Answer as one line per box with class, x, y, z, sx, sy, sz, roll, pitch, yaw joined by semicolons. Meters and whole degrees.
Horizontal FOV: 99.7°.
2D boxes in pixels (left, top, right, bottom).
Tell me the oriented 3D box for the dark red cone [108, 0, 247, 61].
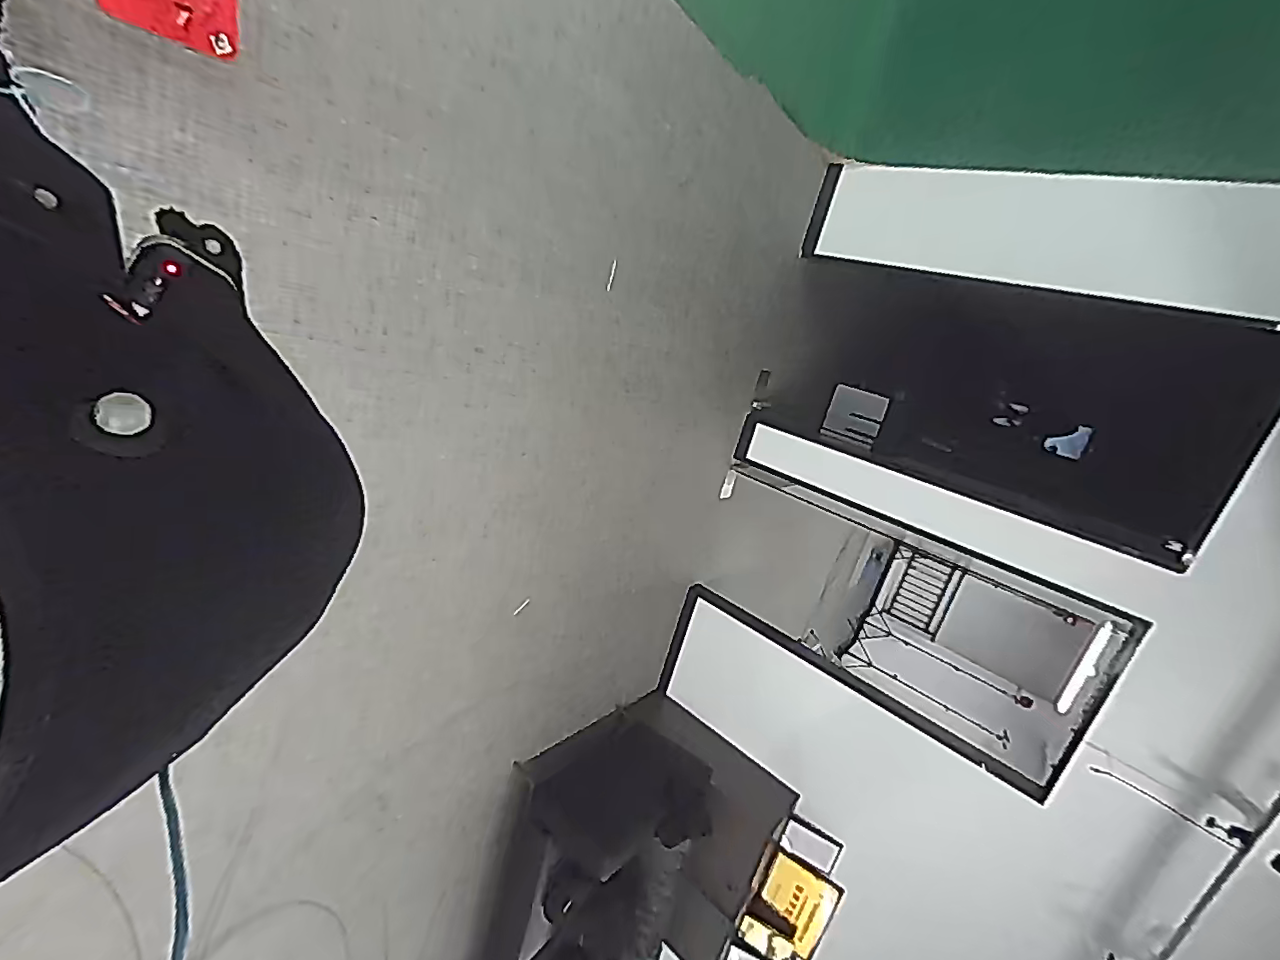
dark red cone;-0.681;-0.818;0.842;0.202;0.394;0.201;-12;120;-49
